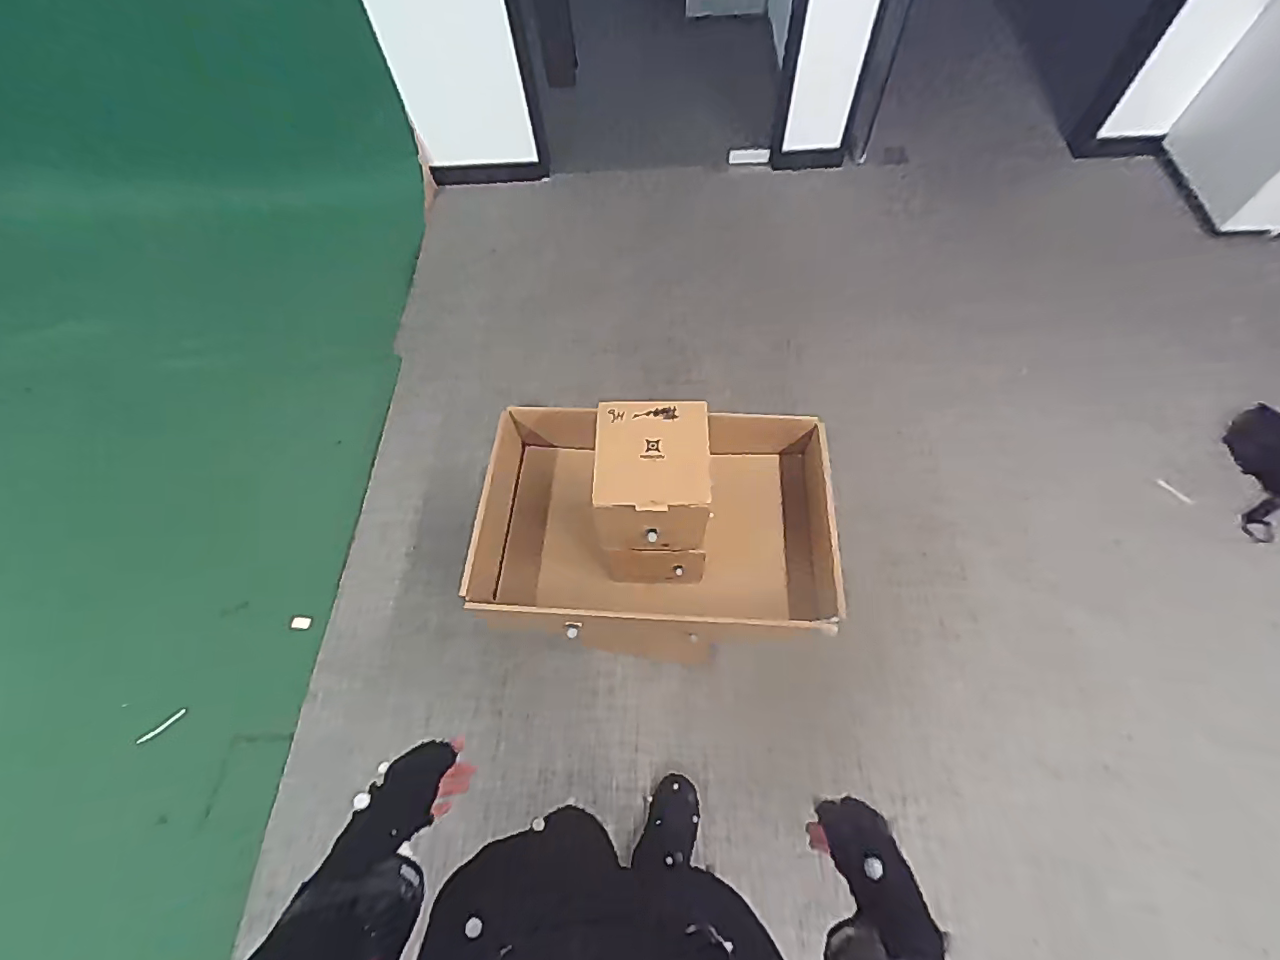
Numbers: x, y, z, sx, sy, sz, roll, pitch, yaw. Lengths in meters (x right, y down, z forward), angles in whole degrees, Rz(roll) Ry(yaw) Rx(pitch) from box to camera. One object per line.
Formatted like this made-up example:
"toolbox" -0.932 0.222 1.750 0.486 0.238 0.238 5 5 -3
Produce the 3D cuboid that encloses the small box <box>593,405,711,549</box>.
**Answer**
"small box" 0.023 0.001 0.848 0.168 0.176 0.179 1 63 2

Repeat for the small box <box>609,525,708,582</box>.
"small box" 0.037 0.081 0.990 0.168 0.176 0.179 0 60 2
